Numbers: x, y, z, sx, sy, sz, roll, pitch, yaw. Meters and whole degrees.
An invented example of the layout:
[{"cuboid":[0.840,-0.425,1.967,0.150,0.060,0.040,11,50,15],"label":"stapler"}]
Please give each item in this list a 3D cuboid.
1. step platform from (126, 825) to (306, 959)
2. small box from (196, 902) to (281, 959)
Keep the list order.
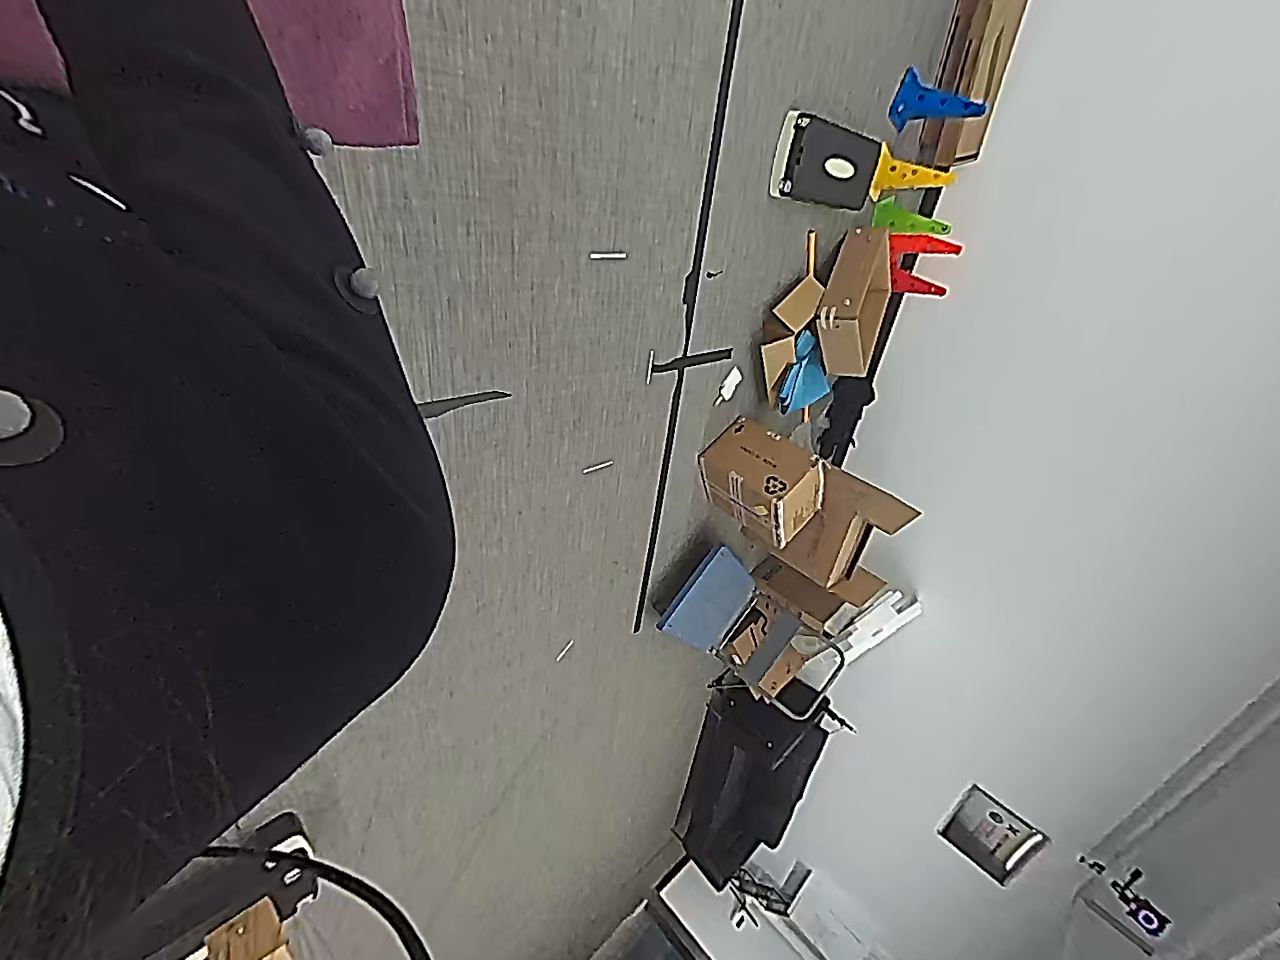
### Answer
[{"cuboid":[-1.419,1.407,1.645,0.684,0.204,0.286,-22,133,-41],"label":"step platform"},{"cuboid":[-1.200,1.431,1.625,0.168,0.176,0.179,-21,132,-41],"label":"small box"}]
